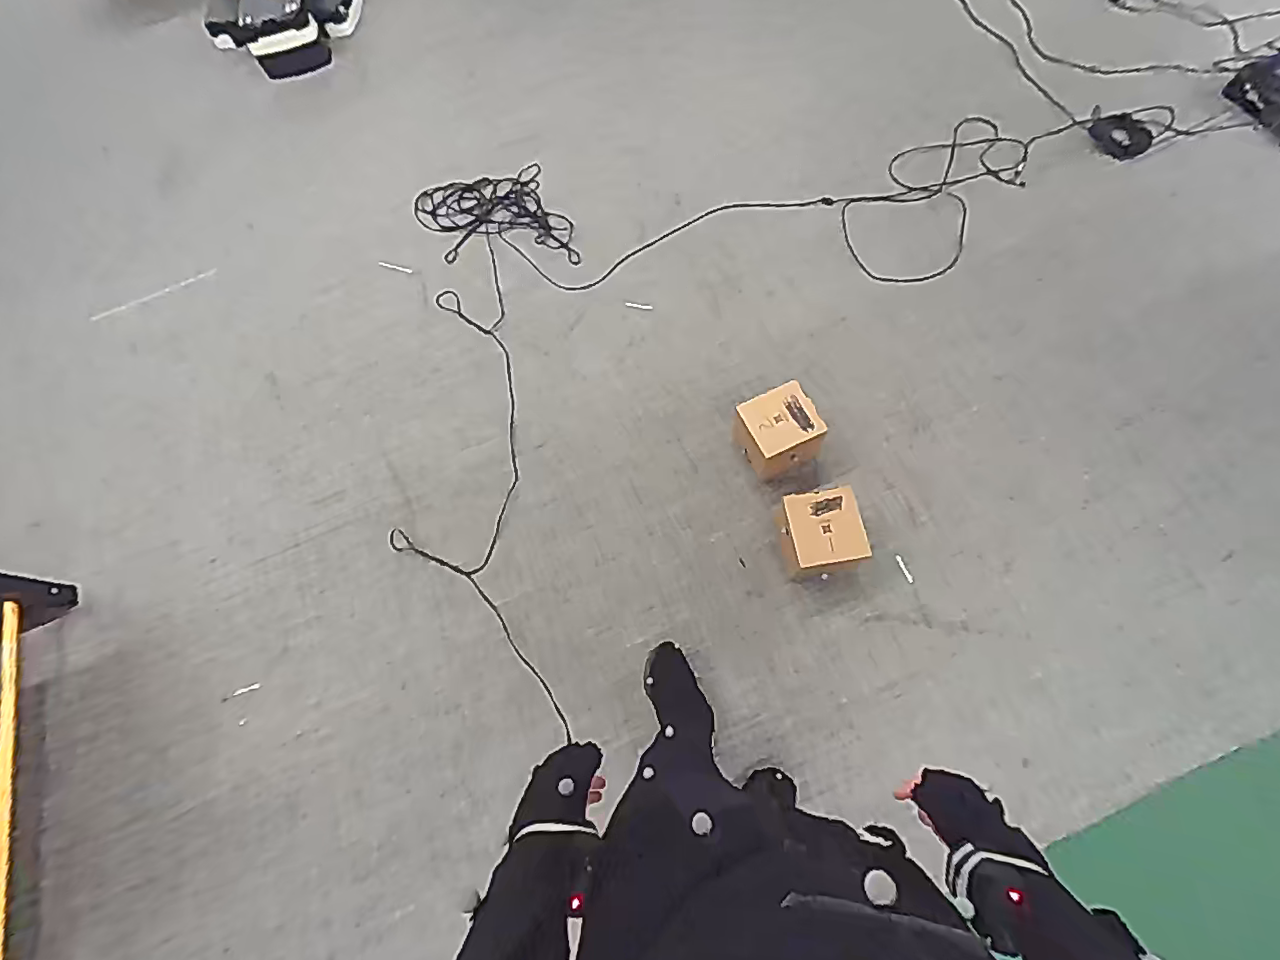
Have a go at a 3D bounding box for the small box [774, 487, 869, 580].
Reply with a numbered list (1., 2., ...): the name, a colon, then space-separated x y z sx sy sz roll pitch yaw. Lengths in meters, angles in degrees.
1. small box: 0.434 0.136 1.326 0.168 0.176 0.179 -10 69 3
